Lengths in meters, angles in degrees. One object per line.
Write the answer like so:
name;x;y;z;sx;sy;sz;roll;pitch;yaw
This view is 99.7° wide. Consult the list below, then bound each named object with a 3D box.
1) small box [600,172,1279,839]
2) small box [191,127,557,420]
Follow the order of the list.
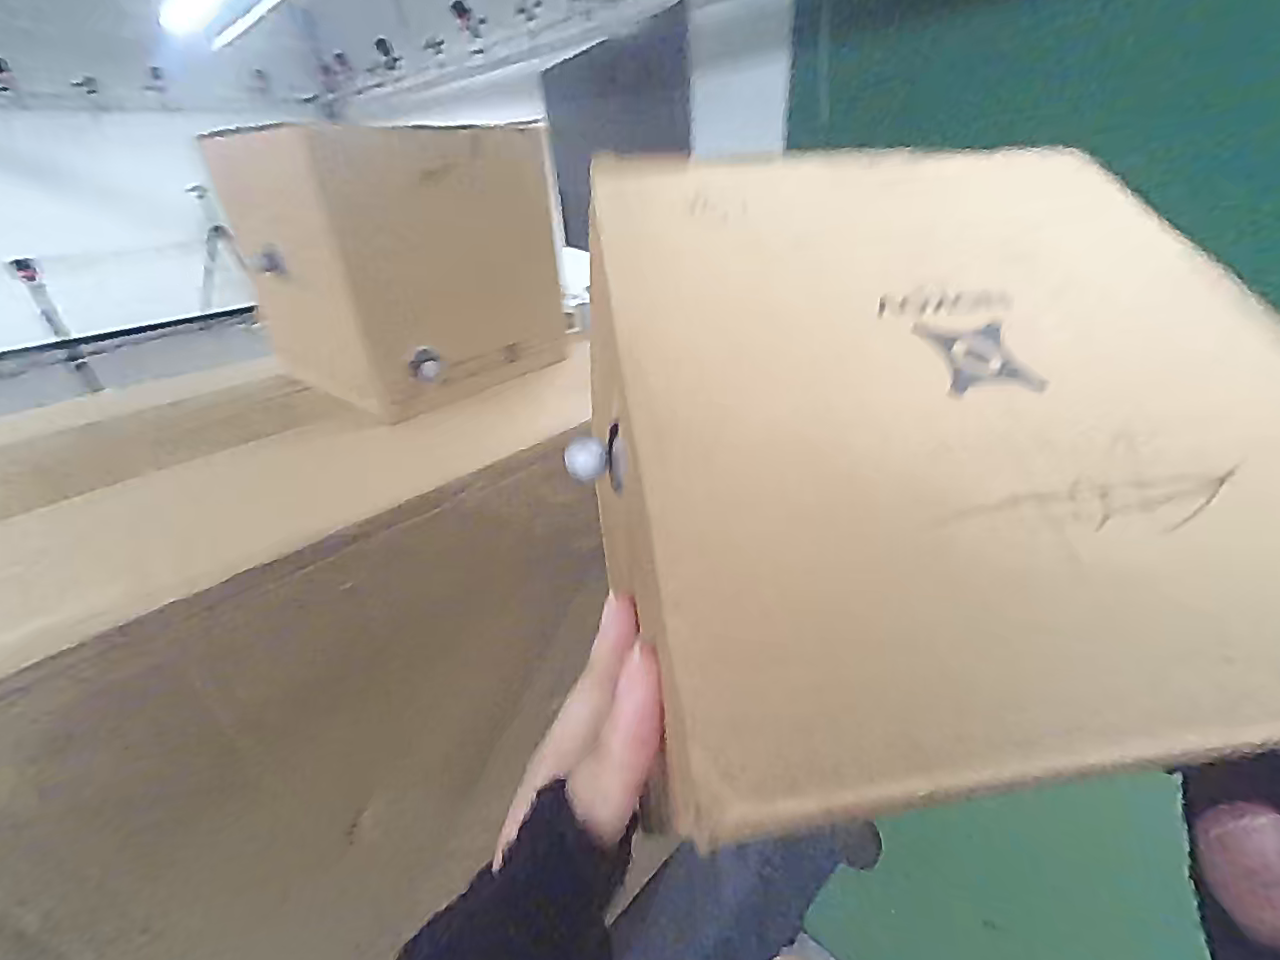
small box;0.075;0.018;0.202;0.168;0.176;0.179;-7;59;-5
small box;-0.184;-0.160;0.412;0.179;0.176;0.168;20;39;35
